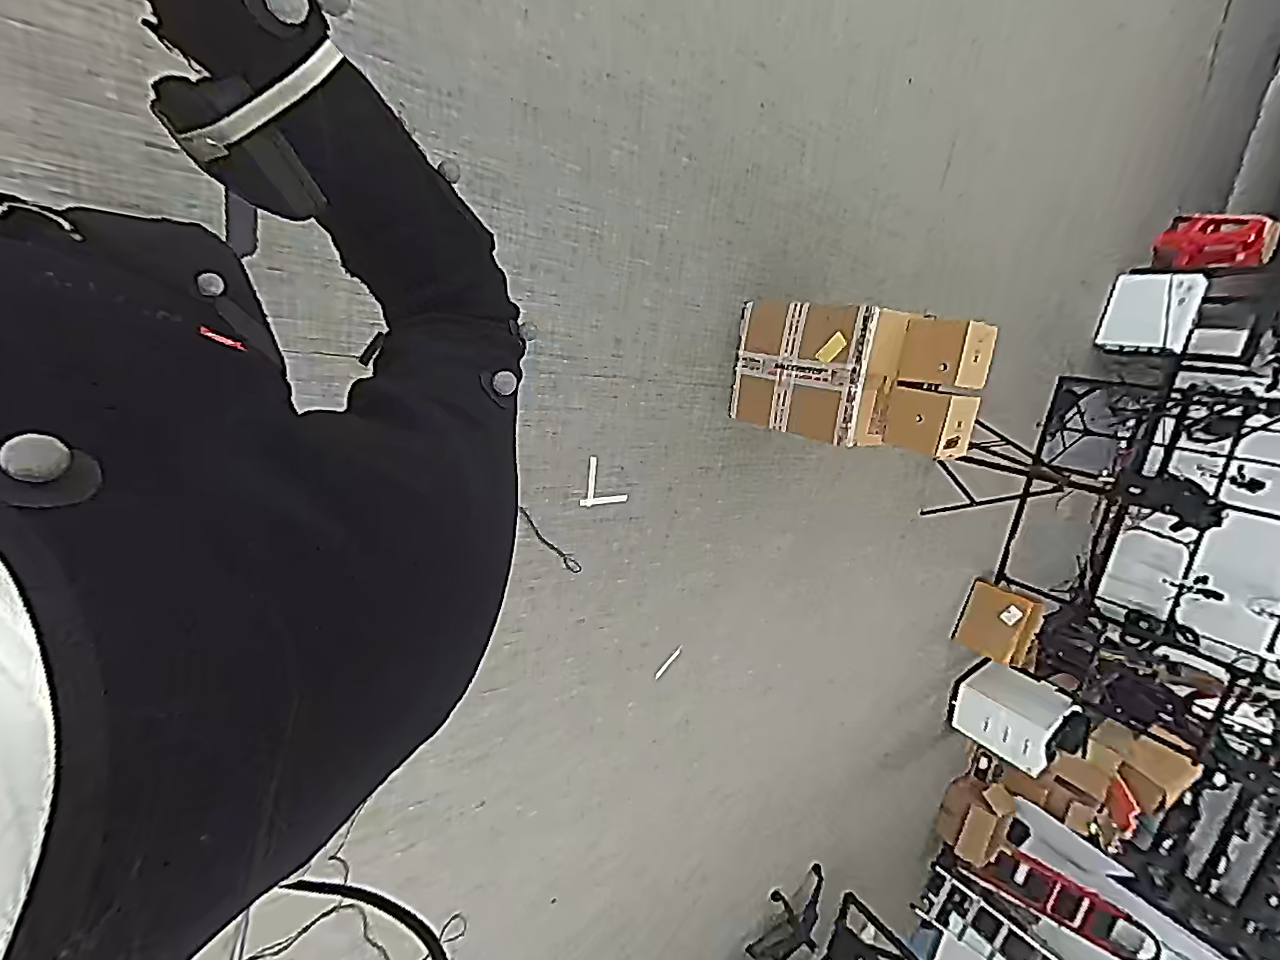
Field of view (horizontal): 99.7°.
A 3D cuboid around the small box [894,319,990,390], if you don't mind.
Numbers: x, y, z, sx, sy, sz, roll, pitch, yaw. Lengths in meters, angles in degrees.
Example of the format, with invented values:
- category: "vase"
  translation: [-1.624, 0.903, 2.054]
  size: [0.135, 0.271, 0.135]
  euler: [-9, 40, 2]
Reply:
- category: "small box"
  translation: [0.855, -0.358, 1.542]
  size: [0.168, 0.176, 0.179]
  euler: [-2, 105, -35]

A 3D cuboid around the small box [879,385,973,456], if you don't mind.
- category: "small box"
  translation: [0.836, -0.175, 1.593]
  size: [0.168, 0.176, 0.179]
  euler: [-3, 108, -34]
